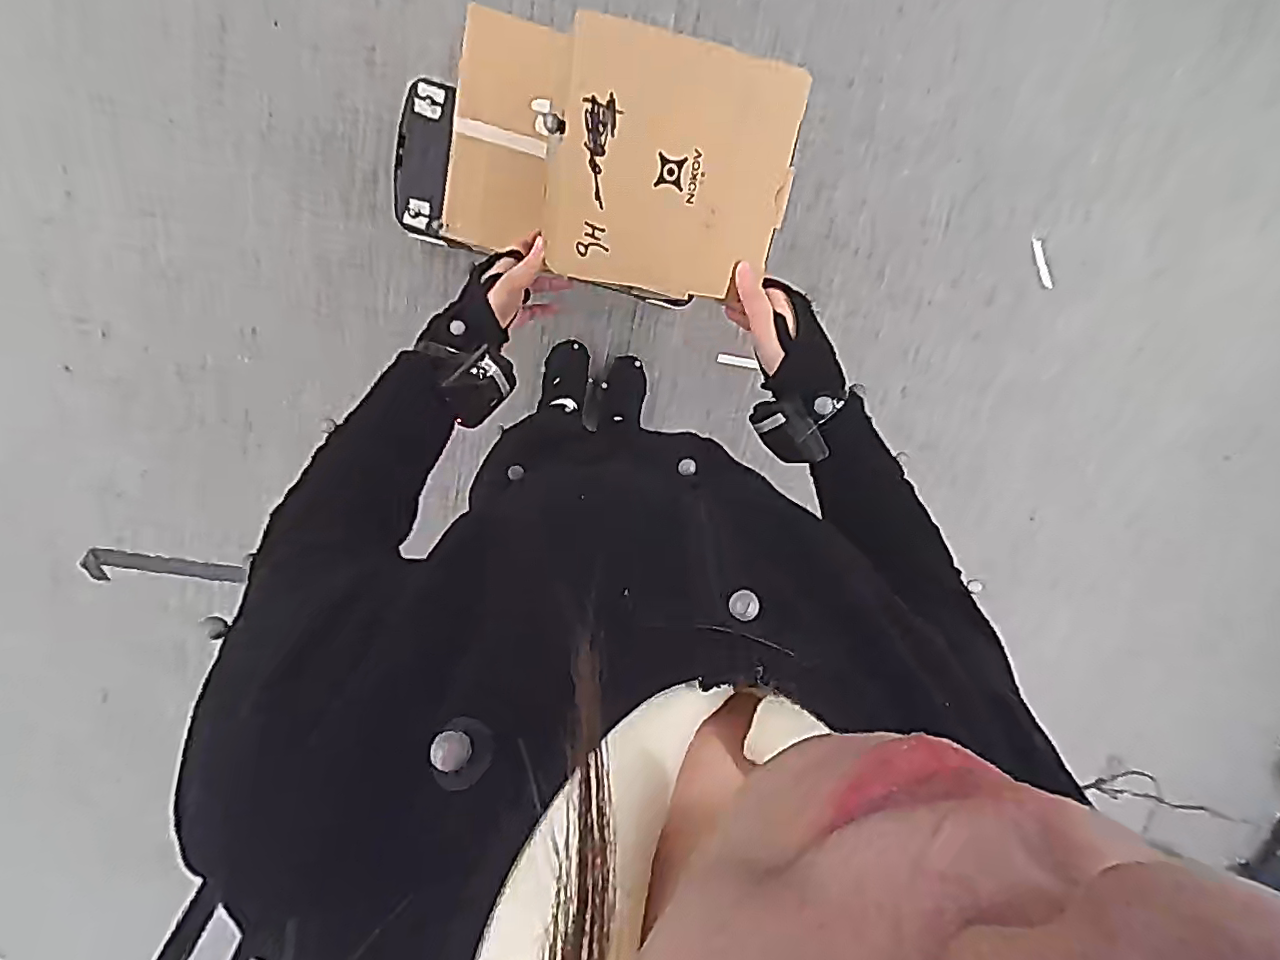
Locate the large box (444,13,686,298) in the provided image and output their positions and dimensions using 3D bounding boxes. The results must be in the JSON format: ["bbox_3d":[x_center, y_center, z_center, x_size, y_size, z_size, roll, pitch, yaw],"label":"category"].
[{"bbox_3d":[-0.098,-0.528,0.974,0.408,0.320,0.320,11,106,-11],"label":"large box"}]

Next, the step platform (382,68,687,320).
[{"bbox_3d":[-0.187,-0.596,1.191,0.684,0.204,0.286,17,105,-12],"label":"step platform"}]

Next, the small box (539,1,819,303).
[{"bbox_3d":[0.014,-0.258,0.461,0.179,0.176,0.168,2,115,-16],"label":"small box"}]
